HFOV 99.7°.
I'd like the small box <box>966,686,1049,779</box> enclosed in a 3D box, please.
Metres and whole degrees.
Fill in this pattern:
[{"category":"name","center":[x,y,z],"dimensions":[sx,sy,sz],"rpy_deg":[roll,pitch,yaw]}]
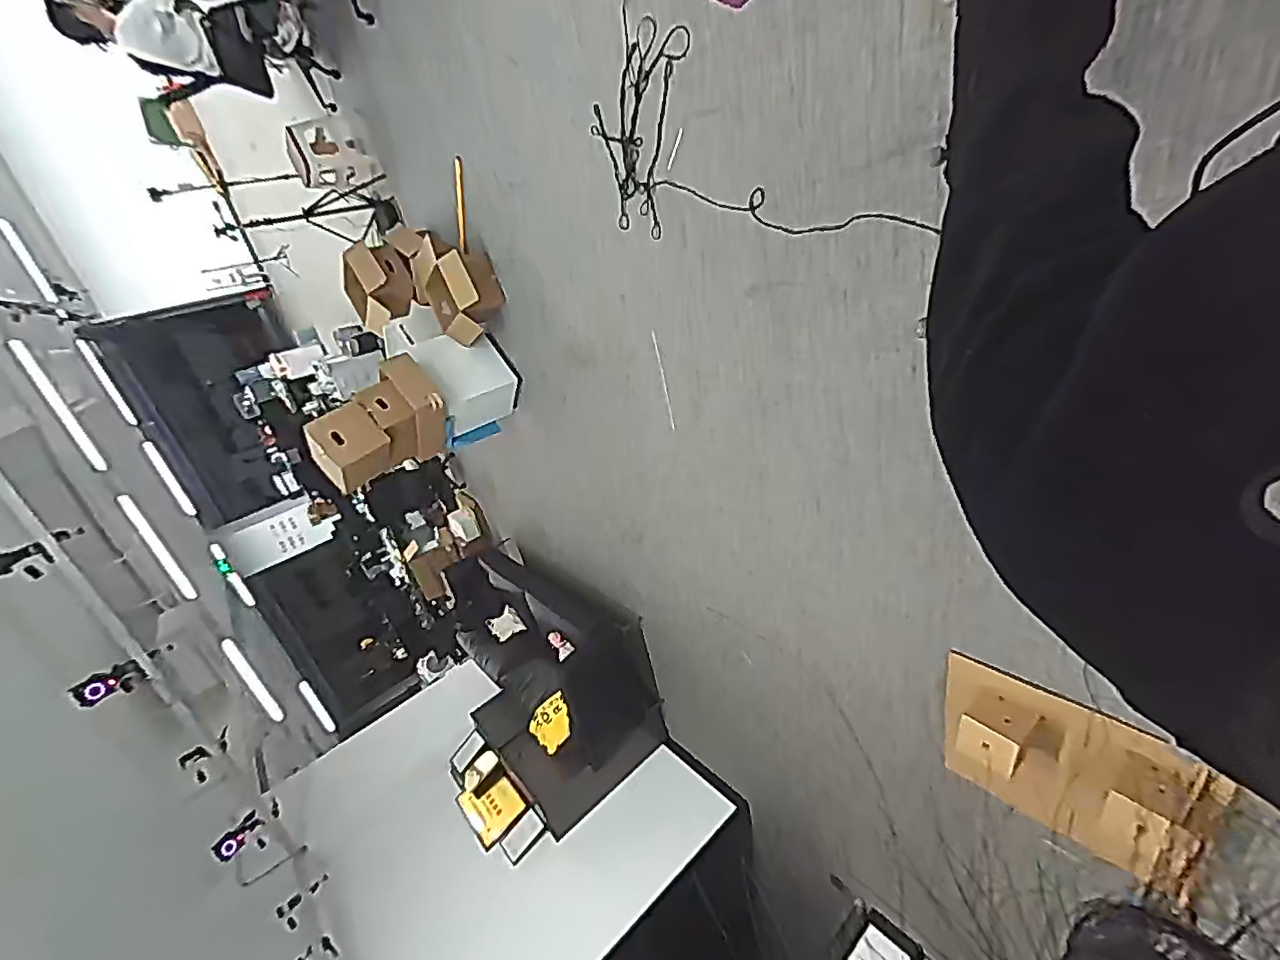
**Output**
[{"category":"small box","center":[1.186,0.805,1.743],"dimensions":[0.168,0.176,0.179],"rpy_deg":[23,134,47]}]

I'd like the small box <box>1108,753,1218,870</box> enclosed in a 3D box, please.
[{"category":"small box","center":[1.418,0.887,1.466],"dimensions":[0.168,0.176,0.179],"rpy_deg":[25,134,46]}]
